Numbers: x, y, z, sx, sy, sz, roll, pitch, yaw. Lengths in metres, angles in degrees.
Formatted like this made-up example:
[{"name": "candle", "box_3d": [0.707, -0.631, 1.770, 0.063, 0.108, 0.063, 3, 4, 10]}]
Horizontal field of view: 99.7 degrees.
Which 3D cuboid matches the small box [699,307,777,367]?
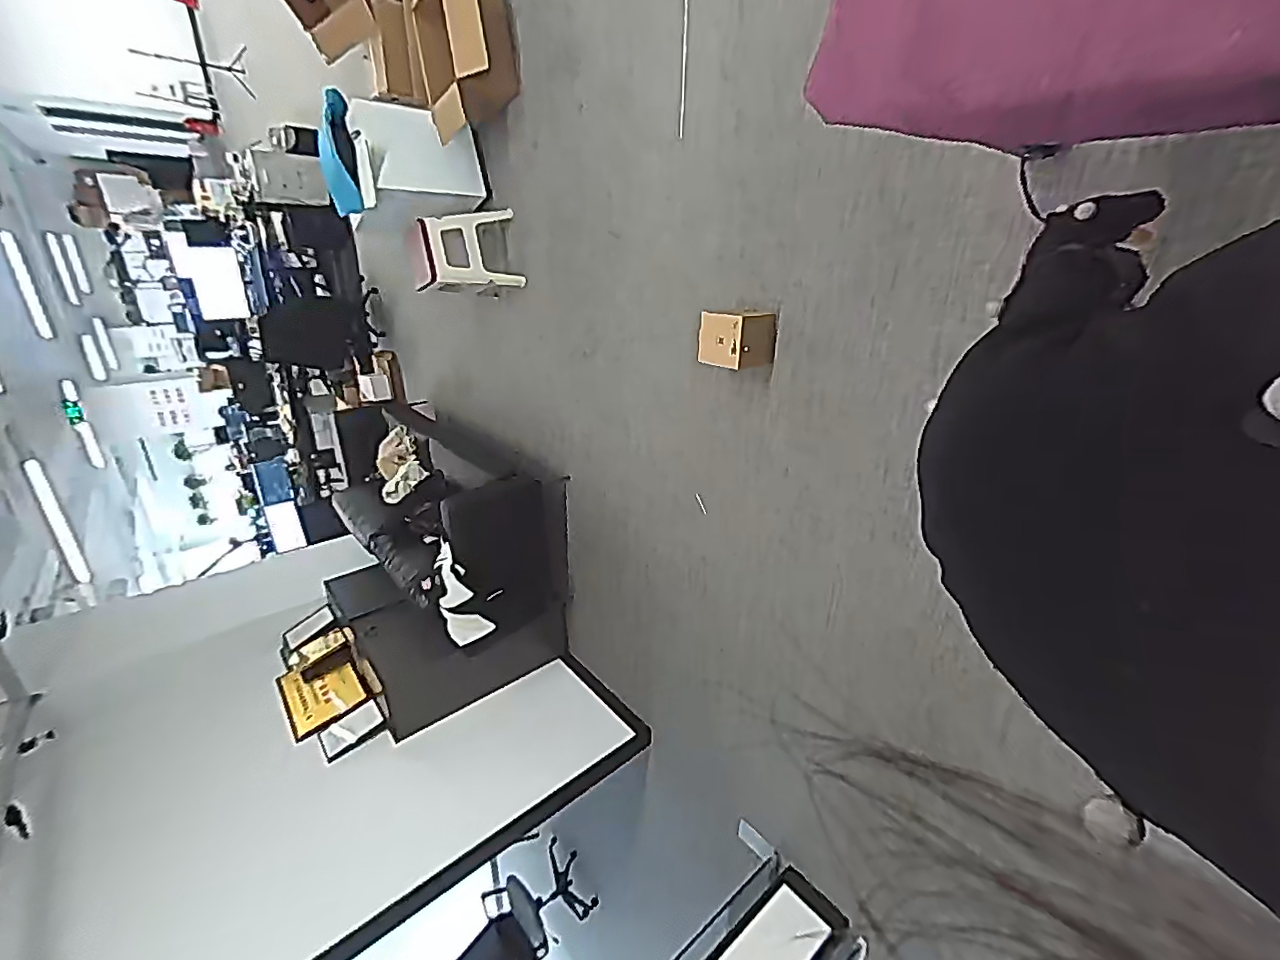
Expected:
[{"name": "small box", "box_3d": [0.320, -0.476, 1.776, 0.179, 0.176, 0.168, 26, 124, 44]}]
